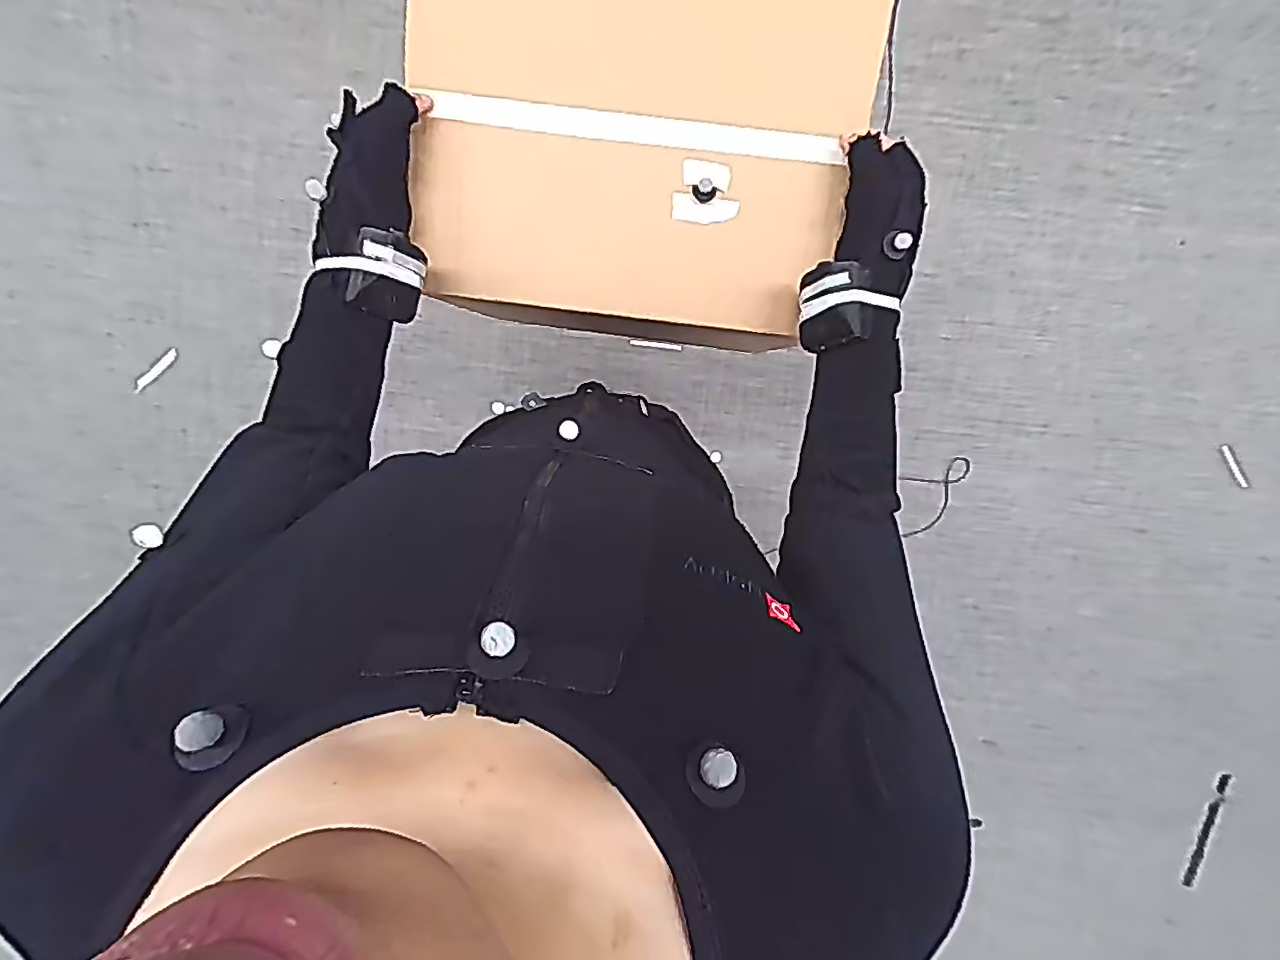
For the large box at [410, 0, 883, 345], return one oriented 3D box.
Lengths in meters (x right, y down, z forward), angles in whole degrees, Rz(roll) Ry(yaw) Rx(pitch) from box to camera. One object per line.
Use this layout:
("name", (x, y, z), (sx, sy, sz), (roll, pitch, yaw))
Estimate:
("large box", (-0.004, -0.340, 0.624), (0.408, 0.320, 0.320), (7, 102, -1))
